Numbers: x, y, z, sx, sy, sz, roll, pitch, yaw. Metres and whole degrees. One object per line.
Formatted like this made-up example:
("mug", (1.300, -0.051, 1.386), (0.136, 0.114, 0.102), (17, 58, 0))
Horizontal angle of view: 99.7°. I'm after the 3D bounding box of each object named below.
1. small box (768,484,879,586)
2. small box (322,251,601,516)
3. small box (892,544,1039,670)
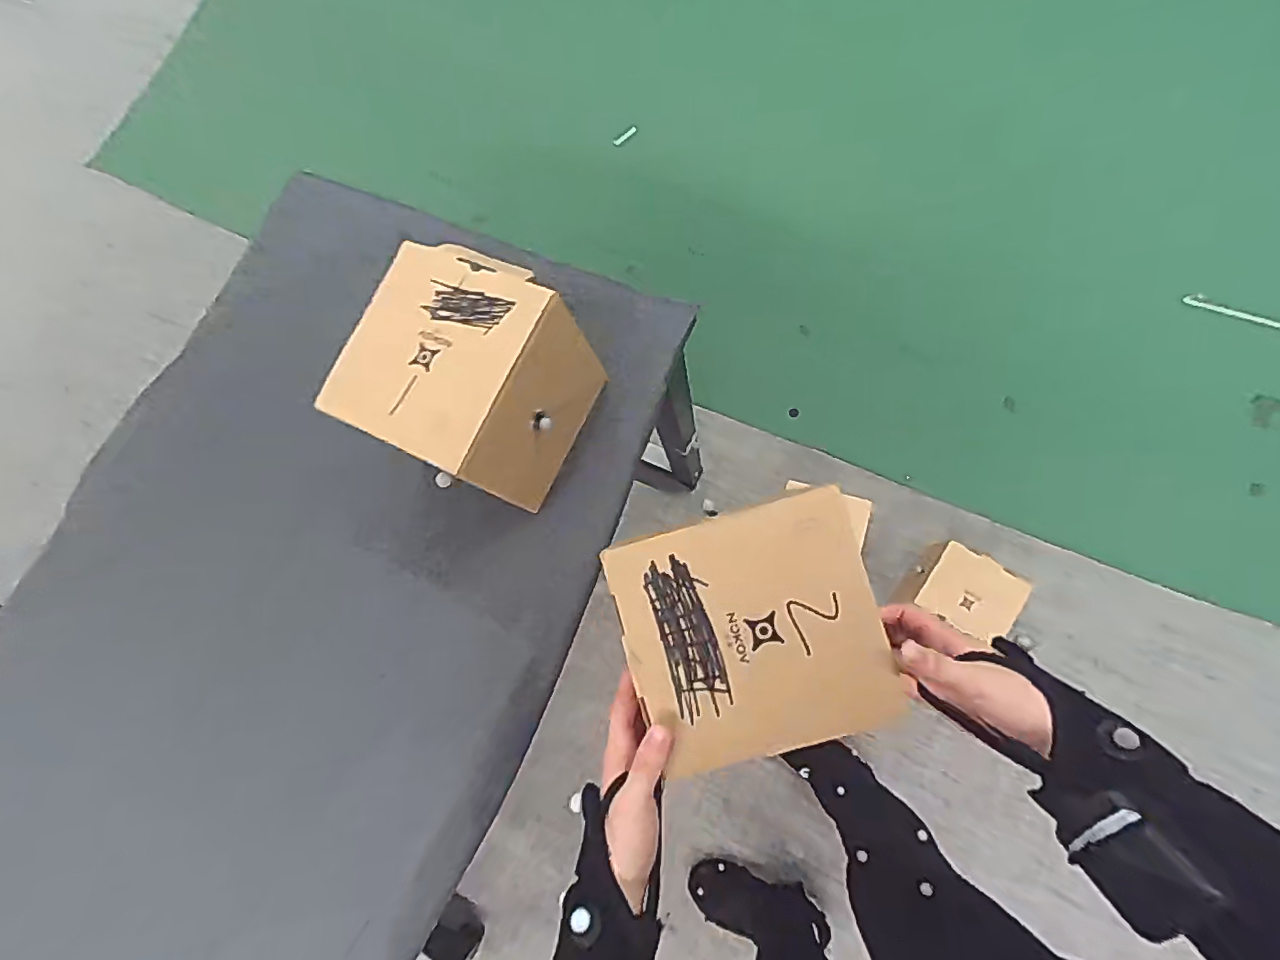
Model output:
("small box", (0.385, 0.124, 1.164), (0.179, 0.176, 0.168), (16, 79, 12))
("small box", (-0.155, -0.084, 0.537), (0.168, 0.176, 0.179), (24, 83, 18))
("small box", (0.643, 0.252, 1.093), (0.168, 0.176, 0.179), (33, 84, 14))
